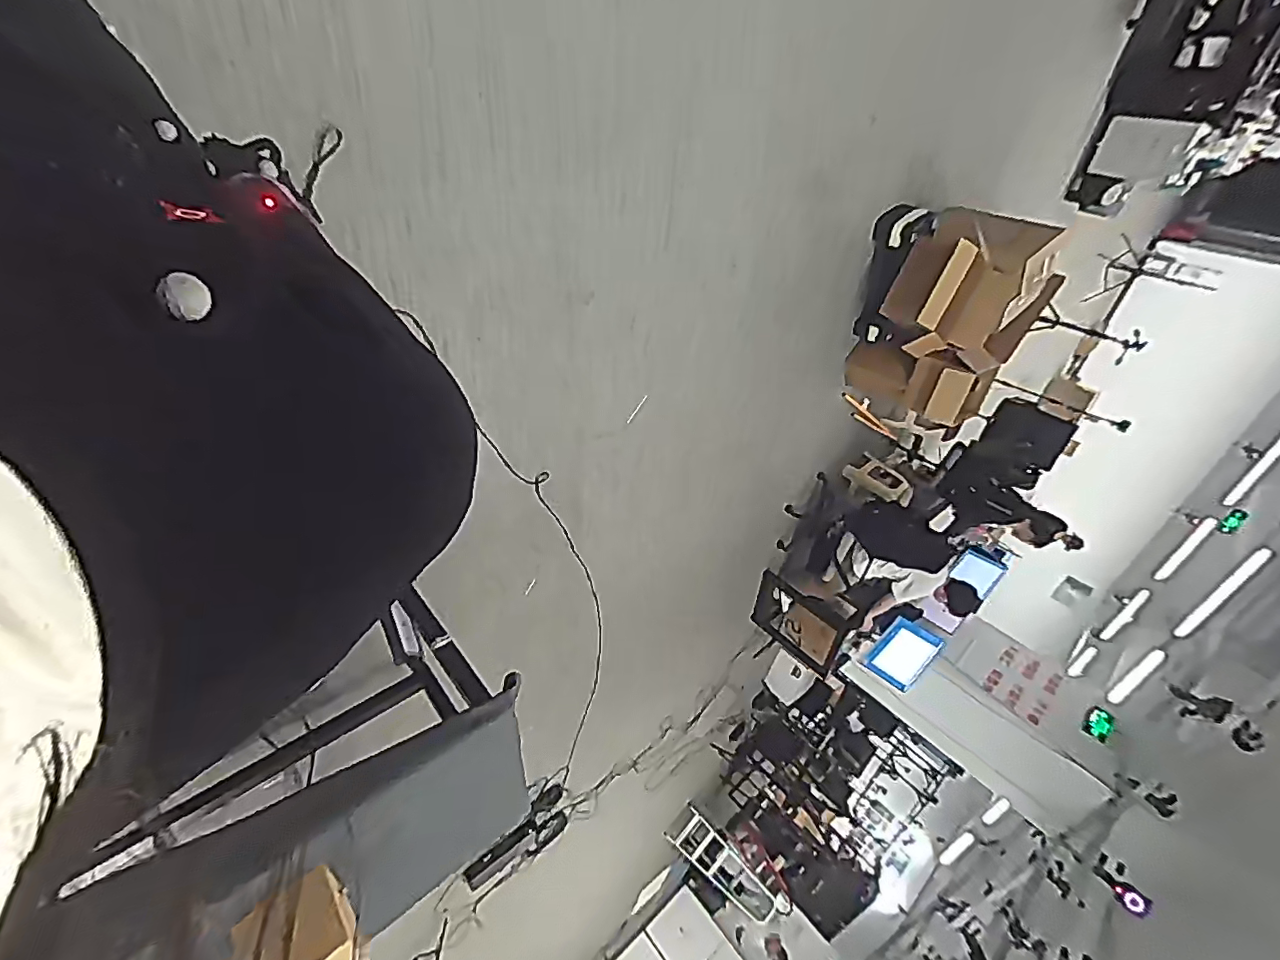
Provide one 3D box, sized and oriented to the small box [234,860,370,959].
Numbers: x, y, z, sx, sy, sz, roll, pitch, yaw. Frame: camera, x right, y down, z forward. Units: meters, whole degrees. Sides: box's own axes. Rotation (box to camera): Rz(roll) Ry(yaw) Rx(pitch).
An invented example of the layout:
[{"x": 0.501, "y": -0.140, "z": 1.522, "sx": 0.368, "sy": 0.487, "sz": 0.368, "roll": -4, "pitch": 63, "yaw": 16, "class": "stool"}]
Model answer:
[{"x": -0.679, "y": 0.917, "z": 1.088, "sx": 0.168, "sy": 0.176, "sz": 0.179, "roll": -27, "pitch": 137, "yaw": -33, "class": "small box"}]
